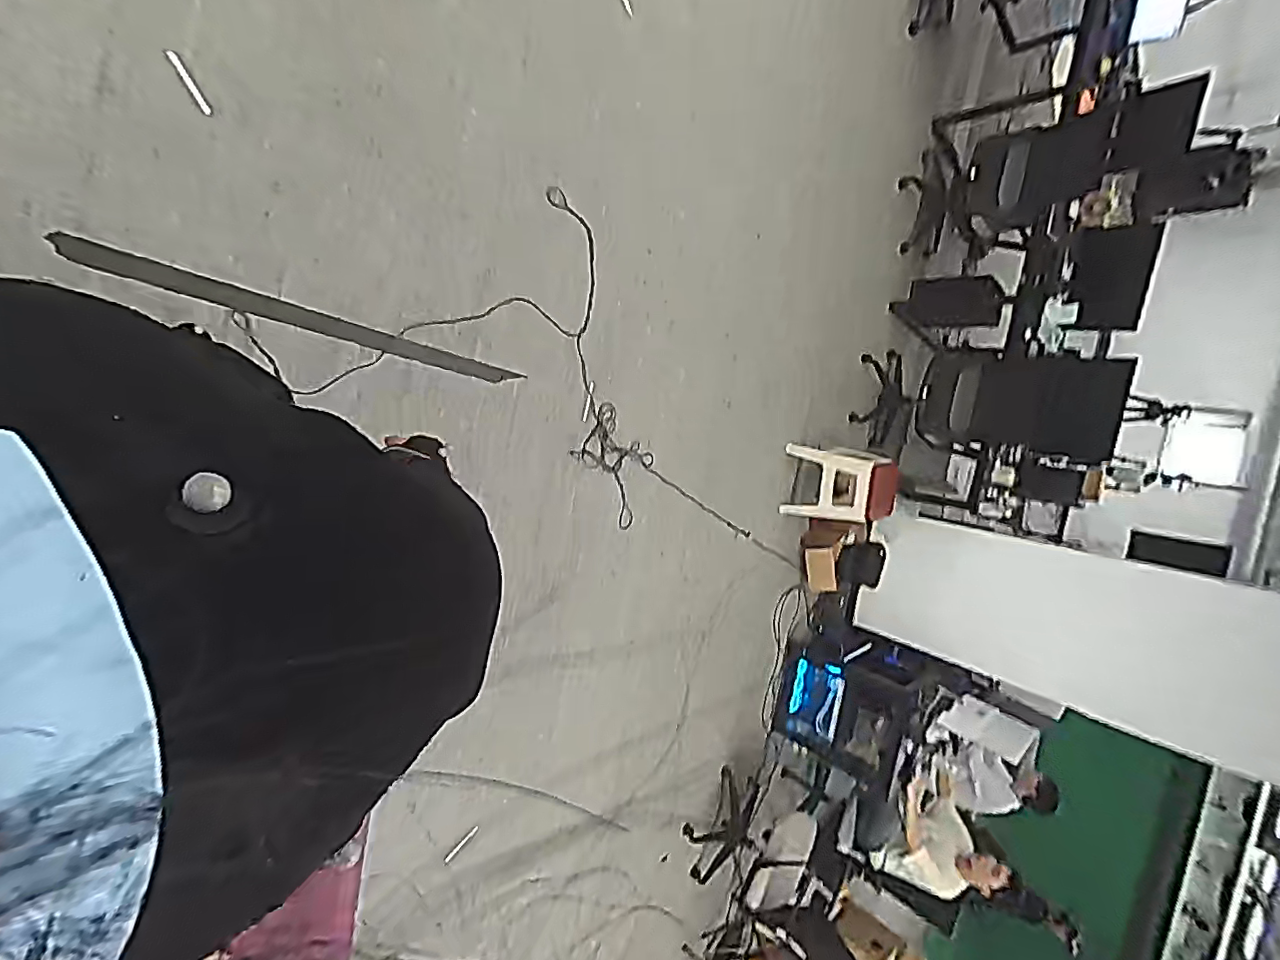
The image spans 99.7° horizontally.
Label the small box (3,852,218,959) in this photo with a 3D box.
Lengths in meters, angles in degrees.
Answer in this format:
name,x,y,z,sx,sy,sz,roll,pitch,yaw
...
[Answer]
name,x,y,z,sx,sy,sz,roll,pitch,yaw
small box,-0.579,0.566,0.590,0.168,0.176,0.179,4,97,-44
